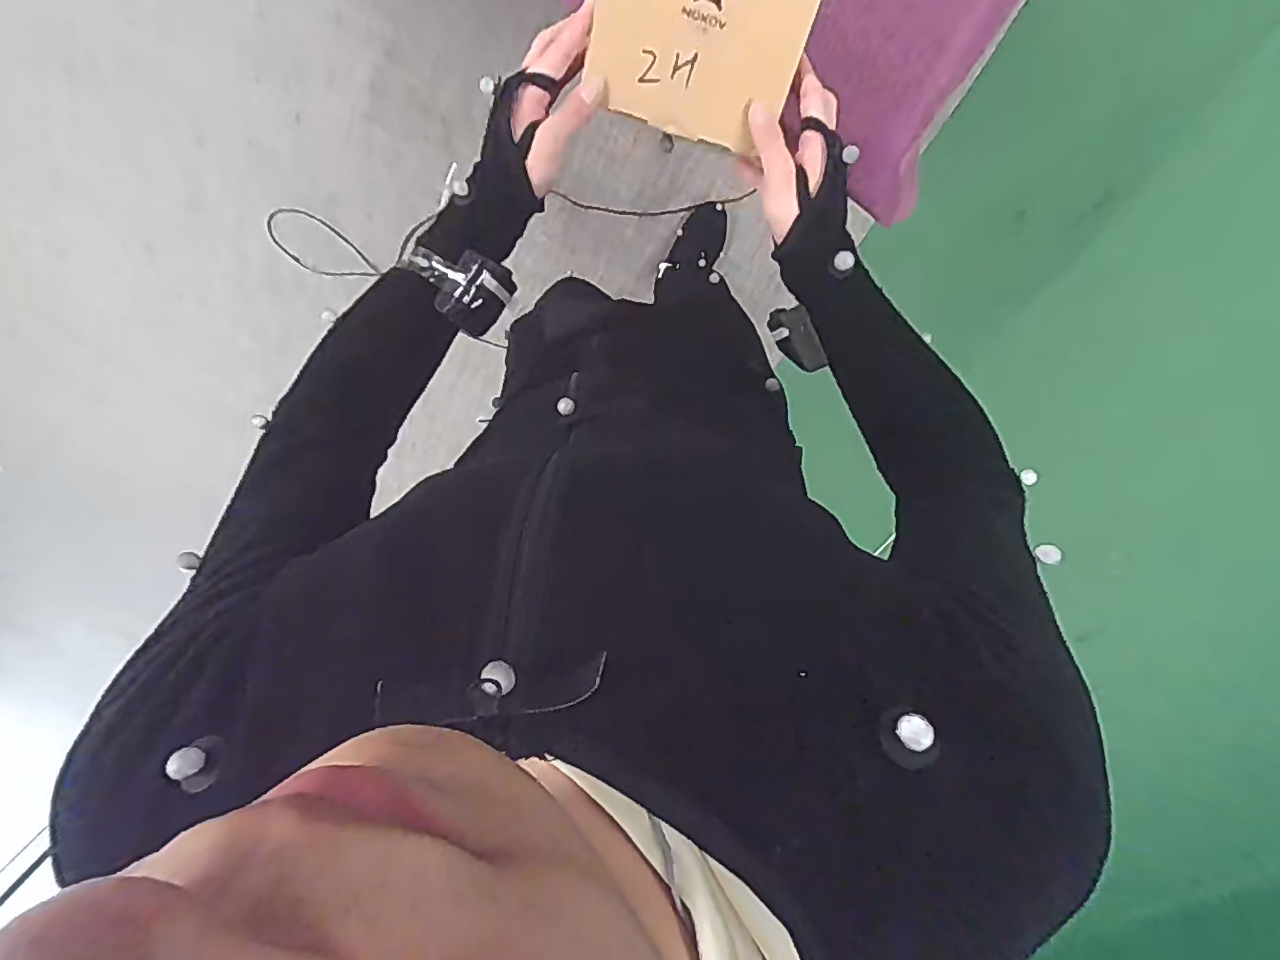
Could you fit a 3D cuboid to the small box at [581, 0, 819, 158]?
[{"bbox_3d":[0.054,-0.409,0.477,0.168,0.176,0.179,15,122,-7],"label":"small box"}]
